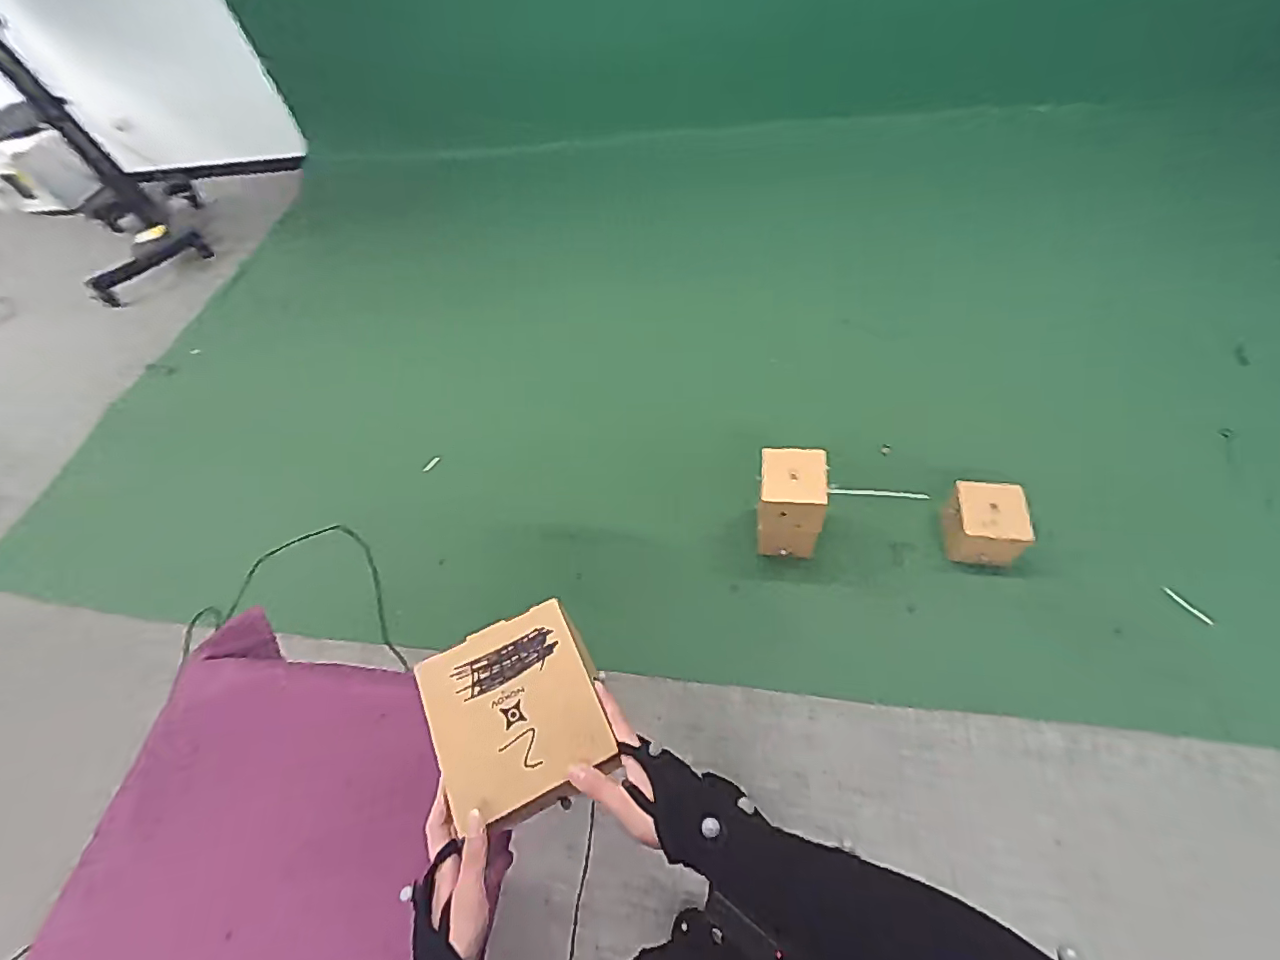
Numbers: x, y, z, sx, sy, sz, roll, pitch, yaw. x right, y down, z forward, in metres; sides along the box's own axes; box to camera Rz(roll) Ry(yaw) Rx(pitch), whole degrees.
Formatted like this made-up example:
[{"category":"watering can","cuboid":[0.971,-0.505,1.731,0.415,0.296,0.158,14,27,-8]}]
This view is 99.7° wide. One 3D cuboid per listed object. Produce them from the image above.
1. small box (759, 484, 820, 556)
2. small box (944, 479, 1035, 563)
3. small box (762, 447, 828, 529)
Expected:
[{"category":"small box","cuboid":[0.455,0.113,1.655,0.168,0.176,0.179,2,58,12]},{"category":"small box","cuboid":[0.994,0.119,1.556,0.168,0.176,0.179,4,58,13]},{"category":"small box","cuboid":[0.433,0.025,1.521,0.168,0.176,0.179,2,57,12]}]
